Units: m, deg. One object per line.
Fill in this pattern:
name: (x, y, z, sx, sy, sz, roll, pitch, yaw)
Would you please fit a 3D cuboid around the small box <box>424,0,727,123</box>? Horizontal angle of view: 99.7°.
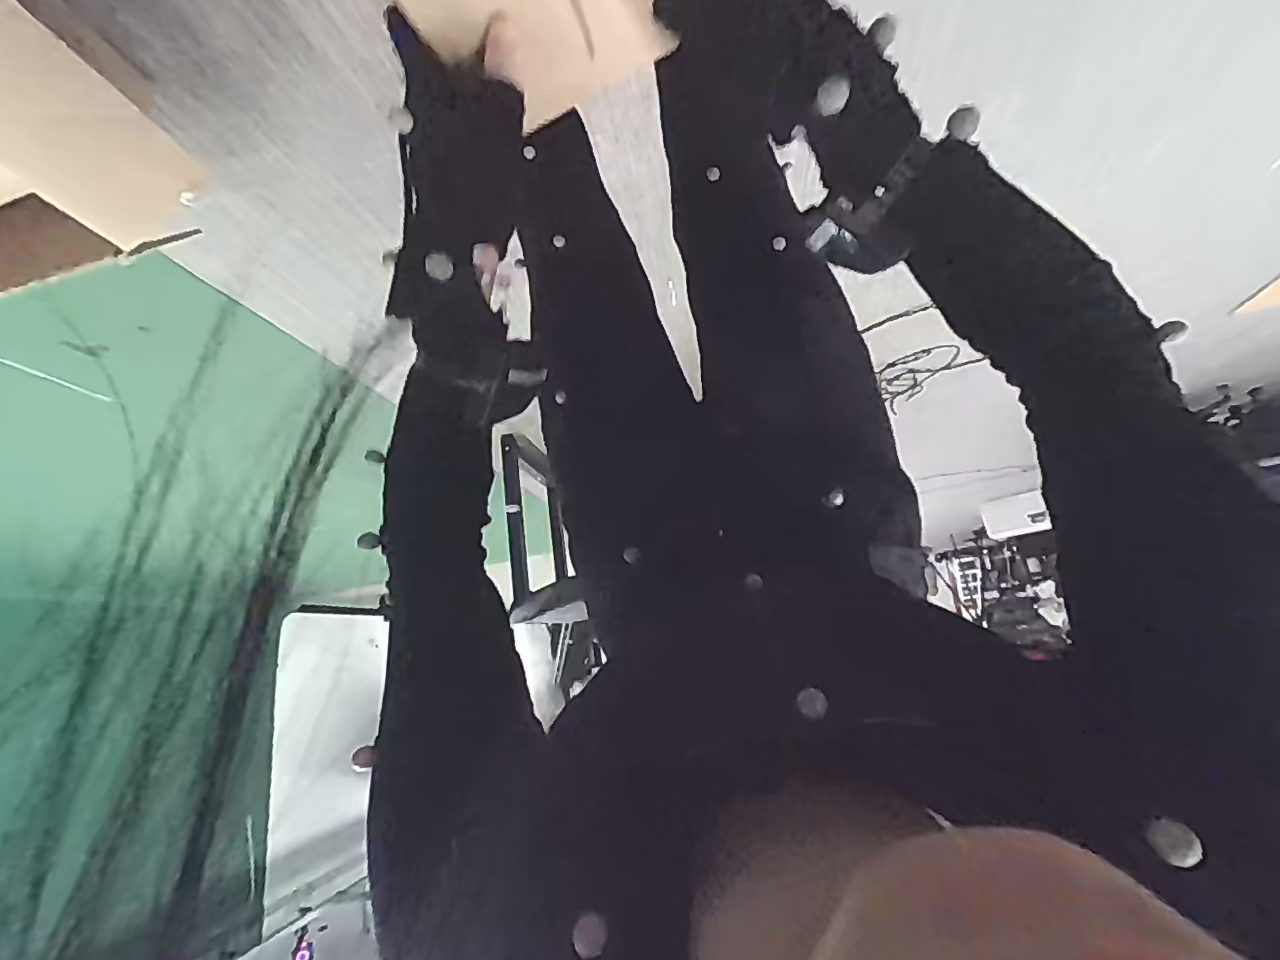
small box: (-0.064, -0.357, 0.289, 0.168, 0.176, 0.179, -20, 162, 14)
